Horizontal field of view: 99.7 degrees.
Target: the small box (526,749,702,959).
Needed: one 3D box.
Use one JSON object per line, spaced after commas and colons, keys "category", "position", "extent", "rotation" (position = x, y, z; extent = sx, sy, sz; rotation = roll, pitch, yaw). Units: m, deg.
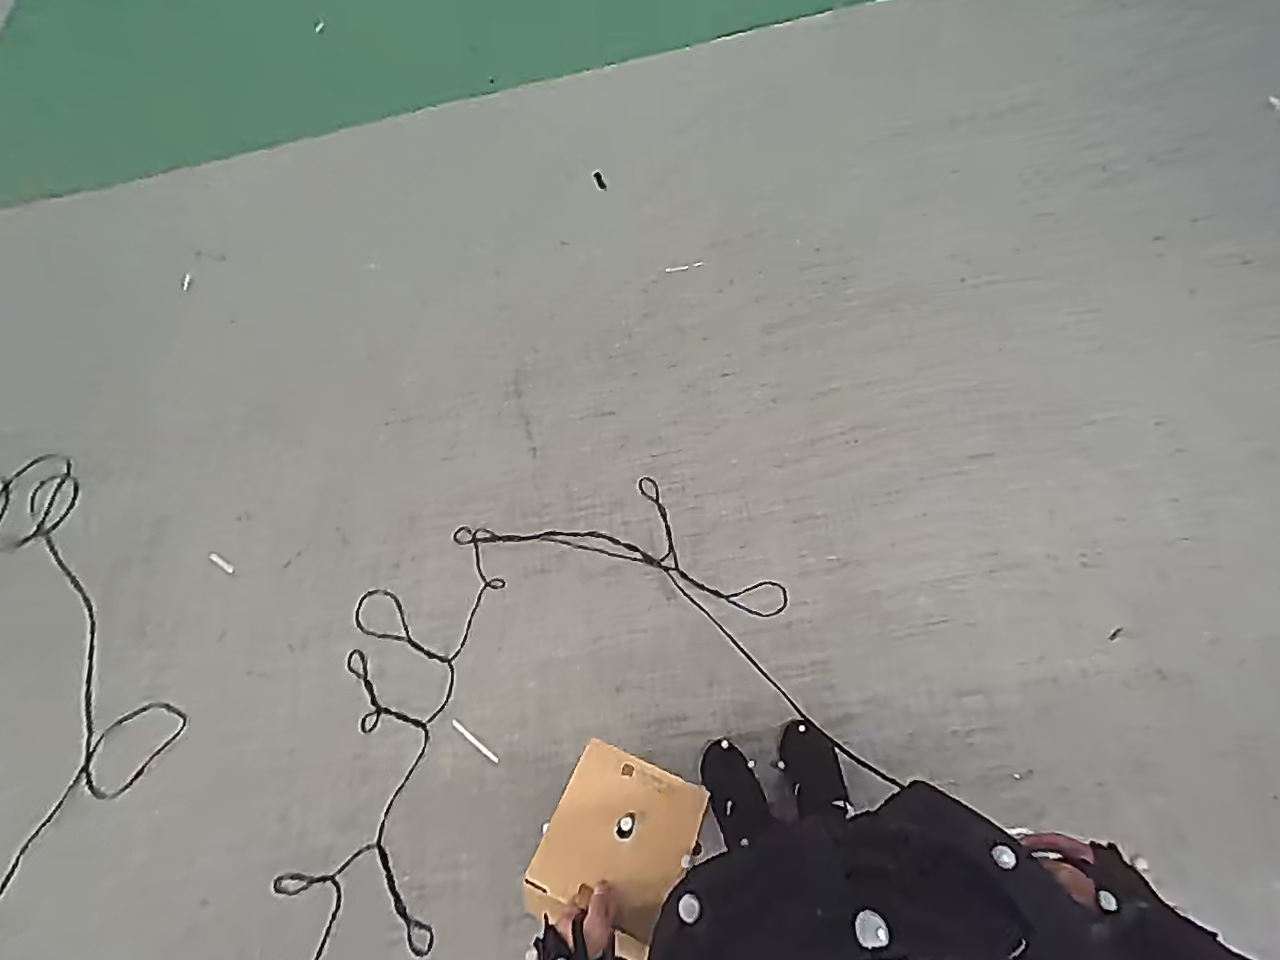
{"category": "small box", "position": [-0.030, 0.474, 0.680], "extent": [0.168, 0.179, 0.176], "rotation": [19, 44, 11]}
